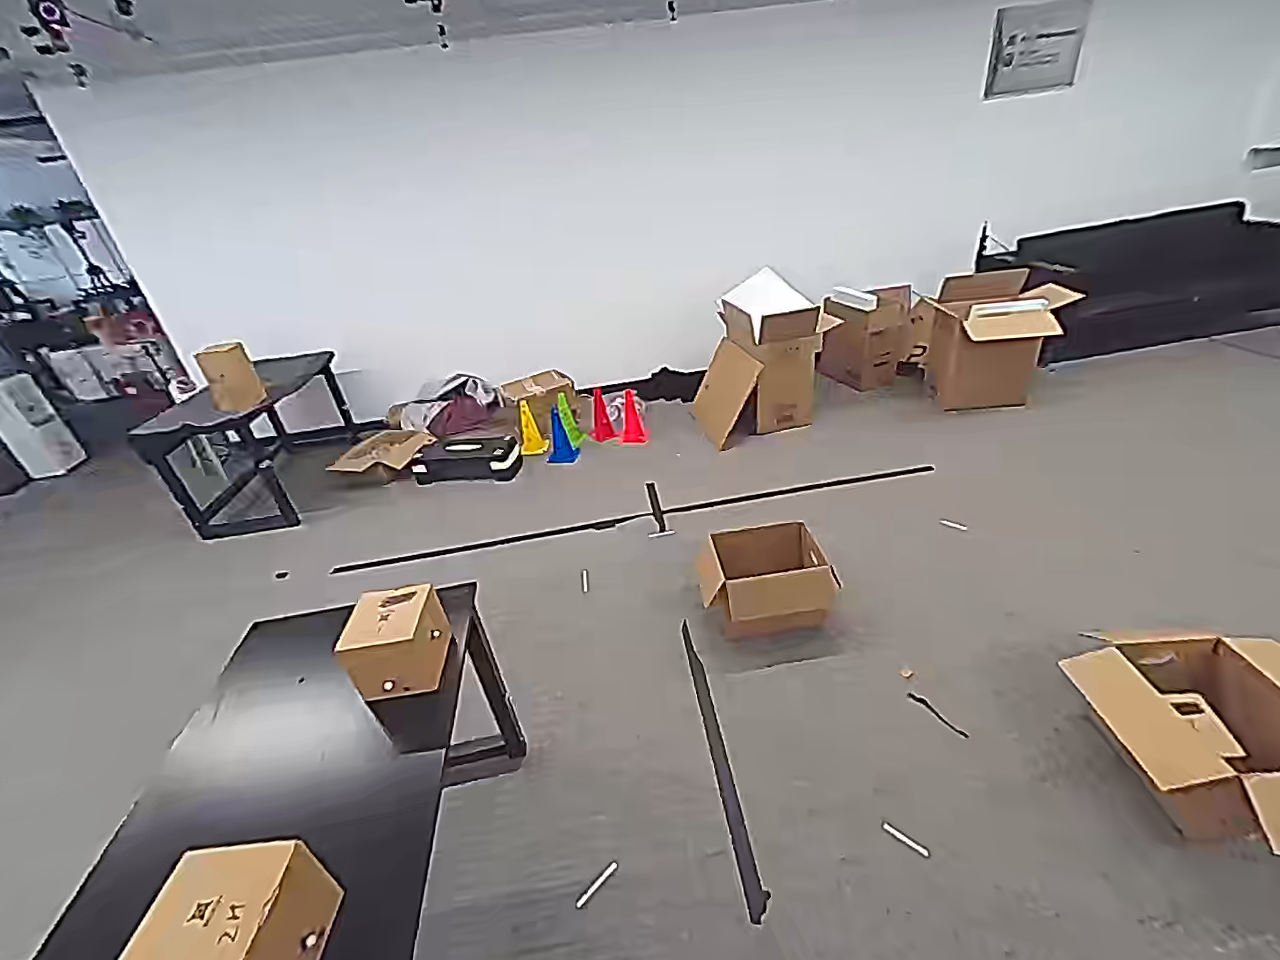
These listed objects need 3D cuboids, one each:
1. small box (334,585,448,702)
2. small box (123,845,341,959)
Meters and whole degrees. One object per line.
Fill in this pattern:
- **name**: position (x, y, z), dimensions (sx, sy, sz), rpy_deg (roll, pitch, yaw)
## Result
- **small box**: position (-0.549, 0.369, 1.223), dimensions (0.168, 0.176, 0.179), rpy_deg (-10, 32, -1)
- **small box**: position (-0.565, 0.650, 0.759), dimensions (0.179, 0.176, 0.168), rpy_deg (-7, 31, 1)
